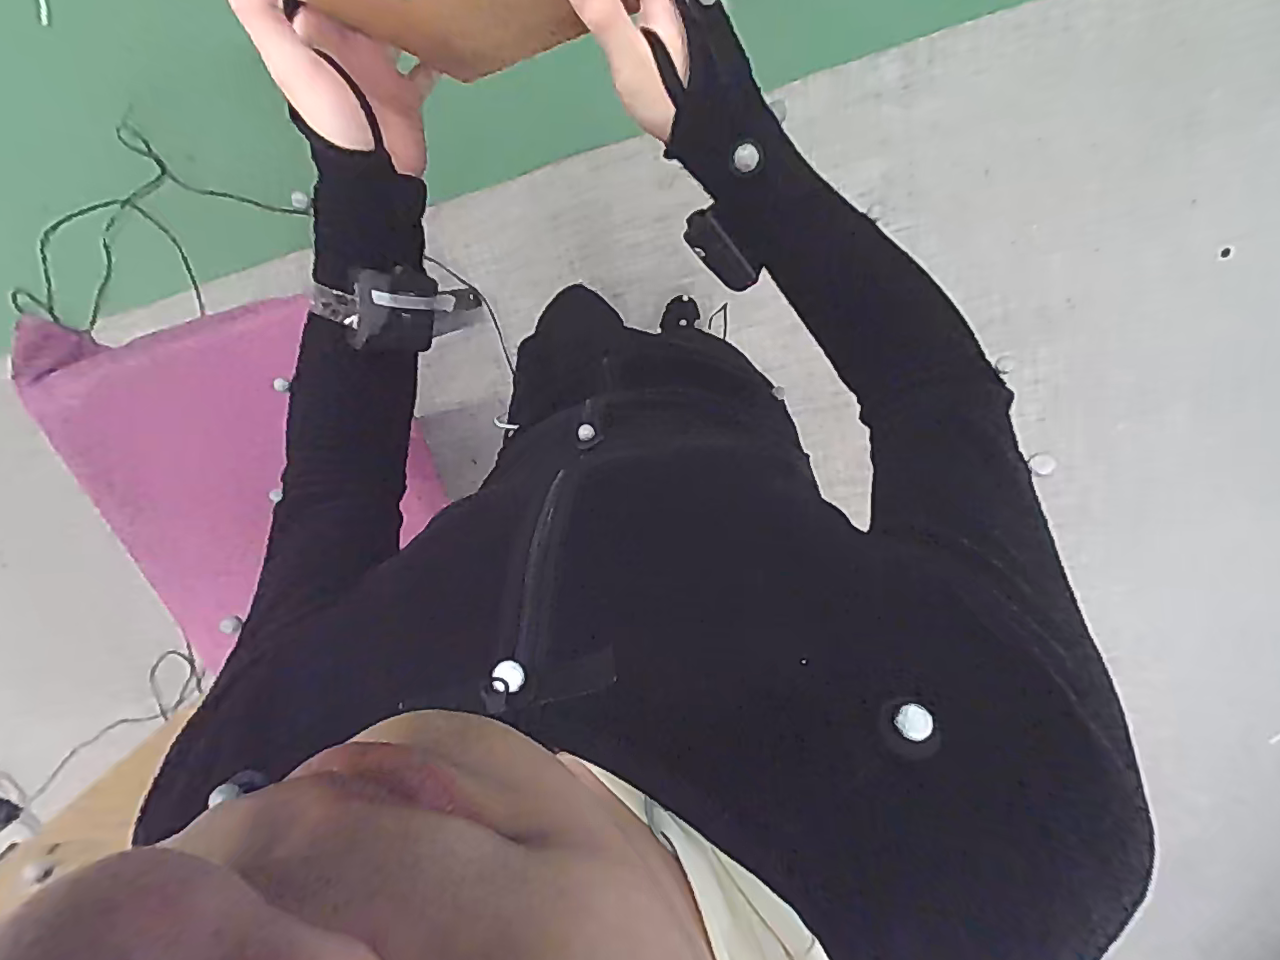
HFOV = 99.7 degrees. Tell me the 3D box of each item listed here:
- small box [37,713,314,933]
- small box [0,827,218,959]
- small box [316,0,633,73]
[{"bbox_3d":[-0.540,0.411,0.662,0.179,0.176,0.168,-9,108,9],"label":"small box"},{"bbox_3d":[-0.559,0.467,0.509,0.168,0.176,0.179,-11,108,10],"label":"small box"},{"bbox_3d":[-0.103,-0.377,0.310,0.179,0.176,0.168,4,106,29],"label":"small box"}]
